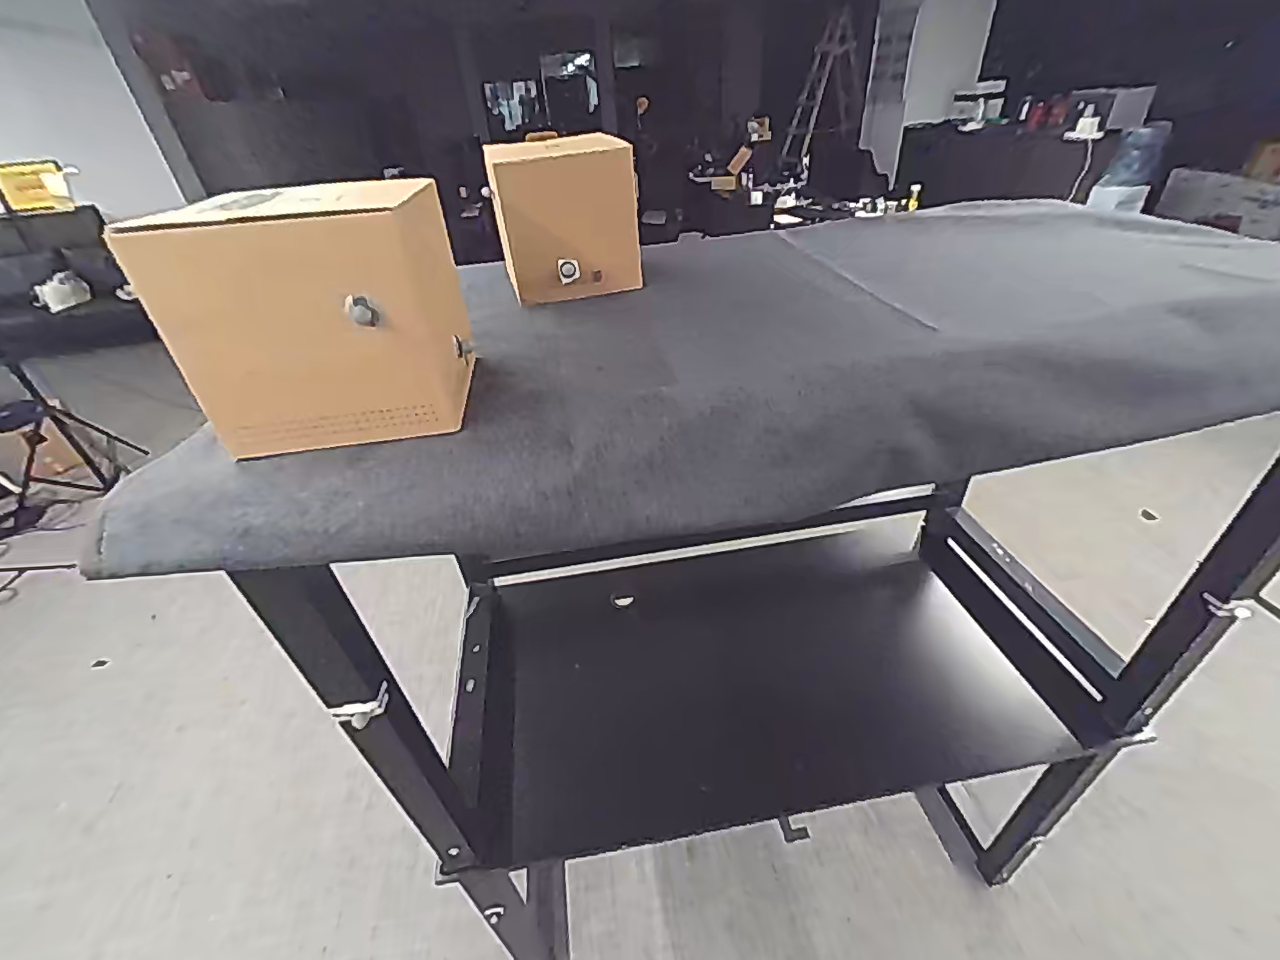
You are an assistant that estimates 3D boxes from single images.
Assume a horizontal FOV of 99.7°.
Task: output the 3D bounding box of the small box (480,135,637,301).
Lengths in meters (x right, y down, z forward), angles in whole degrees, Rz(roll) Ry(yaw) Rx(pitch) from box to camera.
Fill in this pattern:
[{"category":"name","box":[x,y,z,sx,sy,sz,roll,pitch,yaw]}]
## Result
[{"category":"small box","box":[-0.109,-0.351,0.721,0.168,0.176,0.179,-14,37,-10]}]
